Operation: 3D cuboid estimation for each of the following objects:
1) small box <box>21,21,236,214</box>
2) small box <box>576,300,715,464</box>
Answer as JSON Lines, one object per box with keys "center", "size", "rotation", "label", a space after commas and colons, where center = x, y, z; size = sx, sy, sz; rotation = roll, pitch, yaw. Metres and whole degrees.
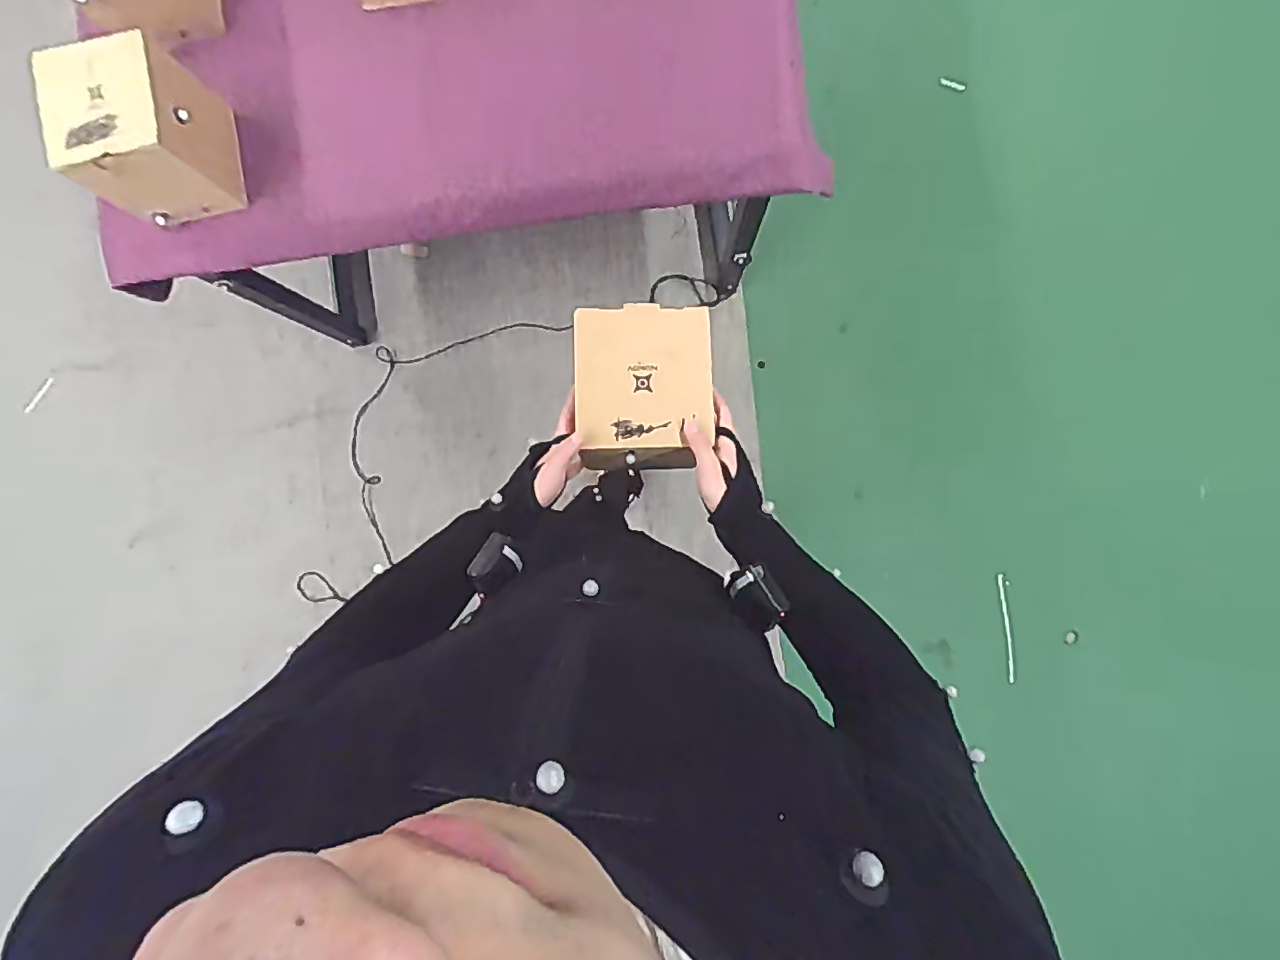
{"center": [-0.763, -0.534, 0.827], "size": [0.168, 0.176, 0.179], "rotation": [-11, 88, 1], "label": "small box"}
{"center": [0.003, -0.120, 0.718], "size": [0.168, 0.176, 0.179], "rotation": [-1, 84, -1], "label": "small box"}
